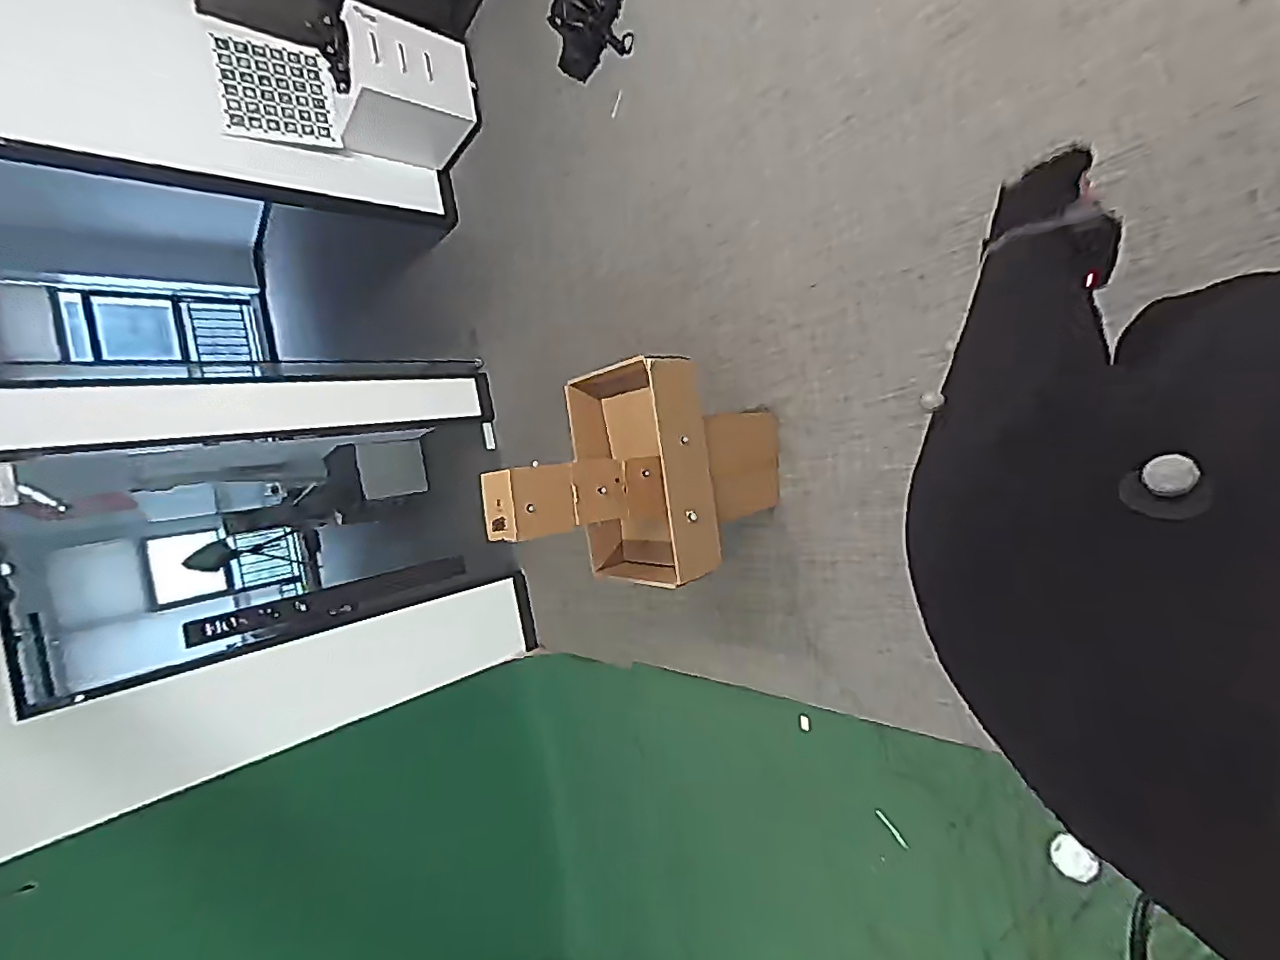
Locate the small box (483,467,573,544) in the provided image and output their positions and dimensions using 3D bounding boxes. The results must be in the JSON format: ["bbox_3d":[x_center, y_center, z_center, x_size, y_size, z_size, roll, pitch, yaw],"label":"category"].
[{"bbox_3d":[-0.285,0.063,1.392,0.168,0.176,0.179,-6,90,50],"label":"small box"}]

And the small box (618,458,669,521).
[{"bbox_3d":[-0.028,0.029,1.596,0.179,0.176,0.168,-6,91,52],"label":"small box"}]

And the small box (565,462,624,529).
[{"bbox_3d":[-0.158,0.044,1.496,0.179,0.176,0.168,-9,88,49],"label":"small box"}]
